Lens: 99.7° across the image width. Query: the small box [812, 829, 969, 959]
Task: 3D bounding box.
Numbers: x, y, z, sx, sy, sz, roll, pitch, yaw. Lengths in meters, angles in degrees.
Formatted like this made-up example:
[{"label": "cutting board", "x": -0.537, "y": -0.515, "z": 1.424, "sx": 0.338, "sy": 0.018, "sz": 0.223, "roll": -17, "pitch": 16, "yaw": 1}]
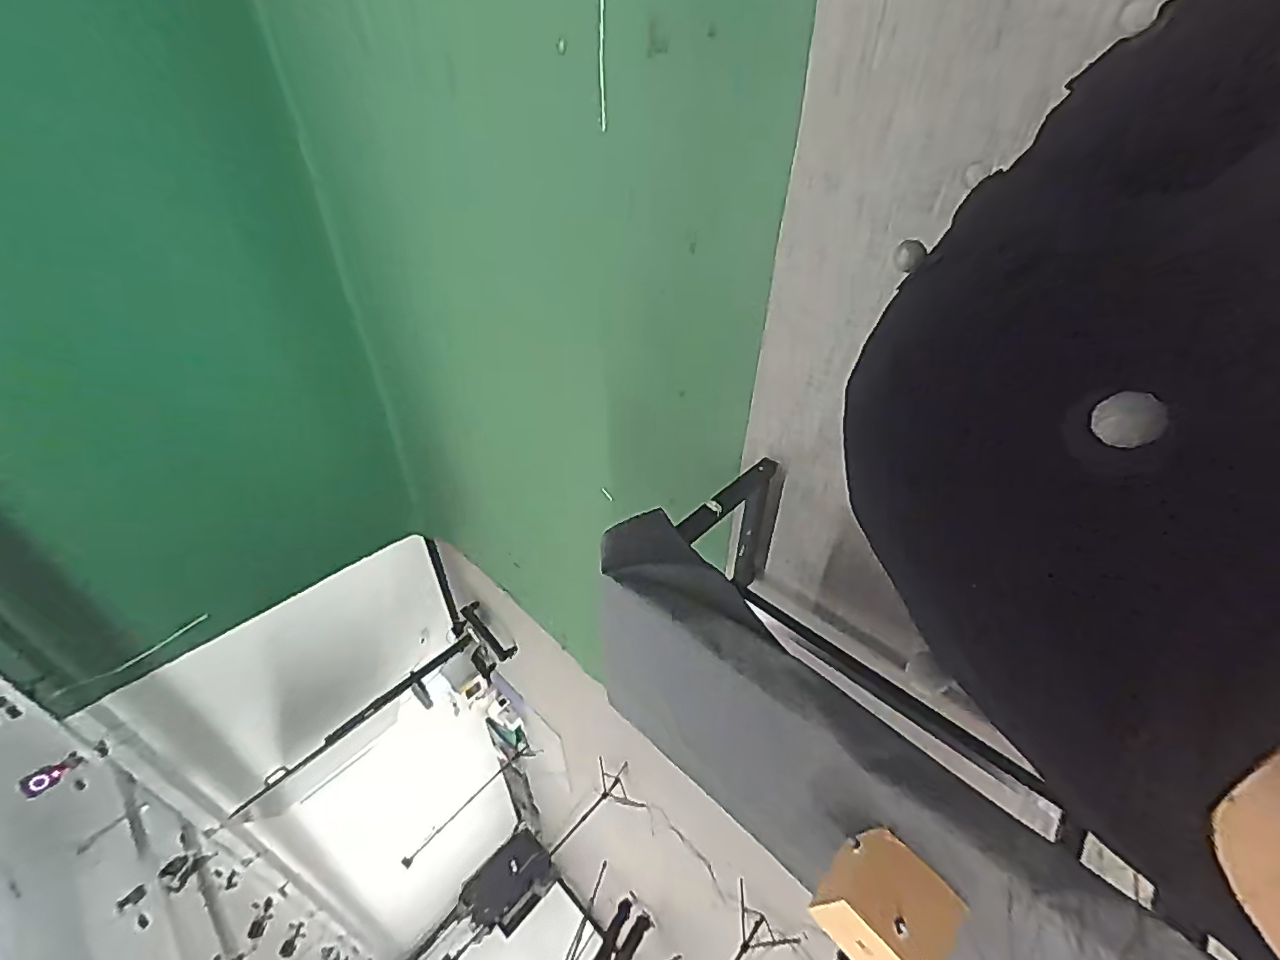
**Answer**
[{"label": "small box", "x": 0.460, "y": 0.794, "z": 0.996, "sx": 0.179, "sy": 0.176, "sz": 0.168, "roll": 41, "pitch": 141, "yaw": 23}]
